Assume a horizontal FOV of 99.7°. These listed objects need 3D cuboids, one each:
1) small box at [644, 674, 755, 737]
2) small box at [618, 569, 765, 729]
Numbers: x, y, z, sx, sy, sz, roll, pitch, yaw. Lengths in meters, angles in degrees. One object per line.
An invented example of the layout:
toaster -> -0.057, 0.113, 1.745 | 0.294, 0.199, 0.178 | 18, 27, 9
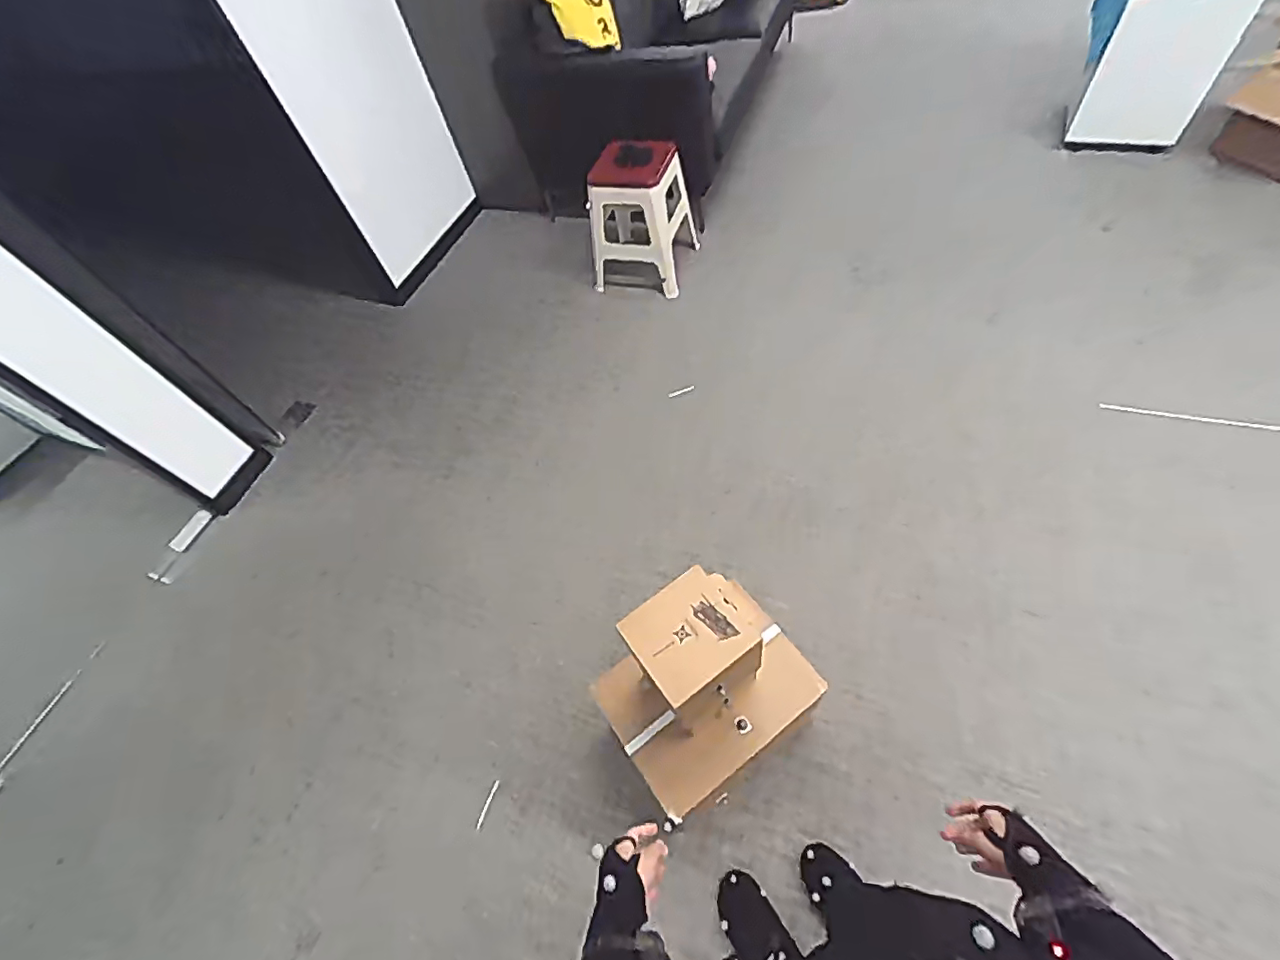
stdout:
small box -> 0.111, 0.368, 1.059 | 0.179, 0.176, 0.168 | -37, 56, -16
small box -> 0.089, 0.289, 0.915 | 0.179, 0.176, 0.168 | -34, 56, -12
